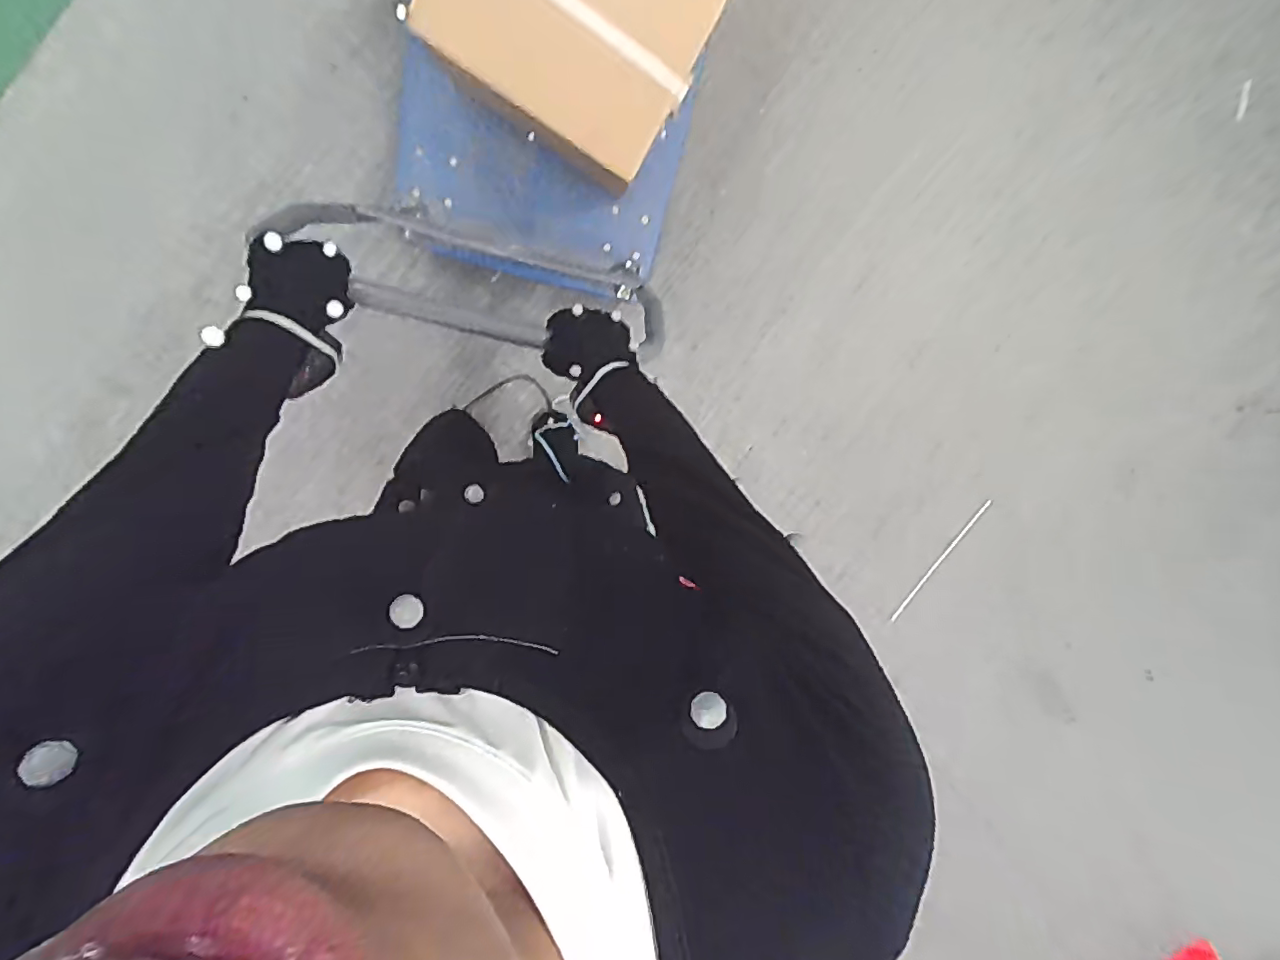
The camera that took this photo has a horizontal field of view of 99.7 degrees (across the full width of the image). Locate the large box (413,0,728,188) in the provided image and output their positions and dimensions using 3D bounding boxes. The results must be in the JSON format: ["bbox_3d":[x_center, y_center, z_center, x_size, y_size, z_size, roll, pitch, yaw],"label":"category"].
[{"bbox_3d":[-0.106,-0.781,0.955,0.408,0.320,0.320,28,109,-14],"label":"large box"}]
